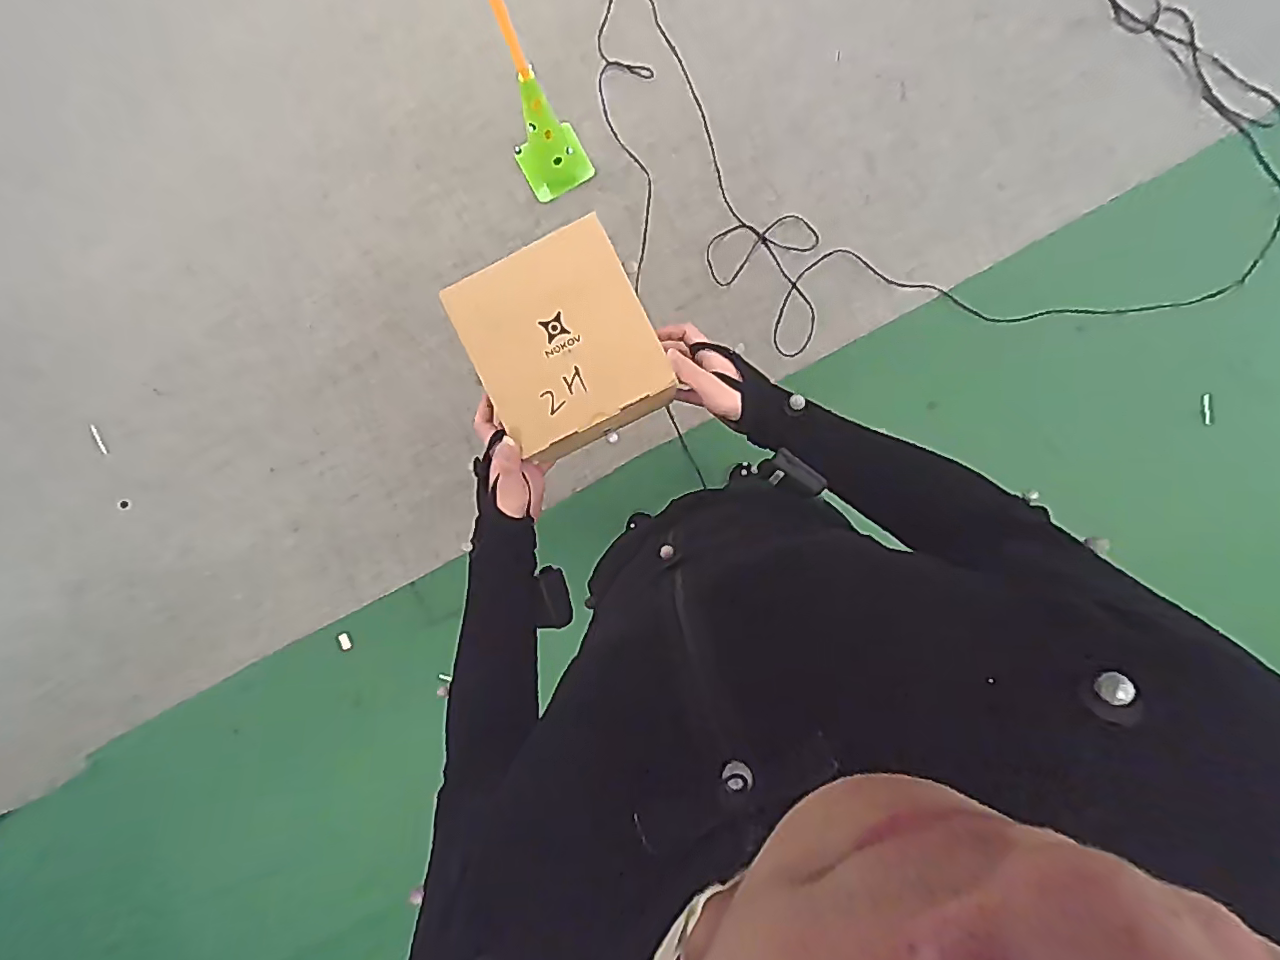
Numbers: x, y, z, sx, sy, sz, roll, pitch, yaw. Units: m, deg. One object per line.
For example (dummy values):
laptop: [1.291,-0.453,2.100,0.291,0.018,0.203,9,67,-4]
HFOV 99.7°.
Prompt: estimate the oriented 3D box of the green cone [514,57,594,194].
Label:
green cone: [-0.271,-1.018,1.515,0.202,0.368,0.200,-28,88,0]
